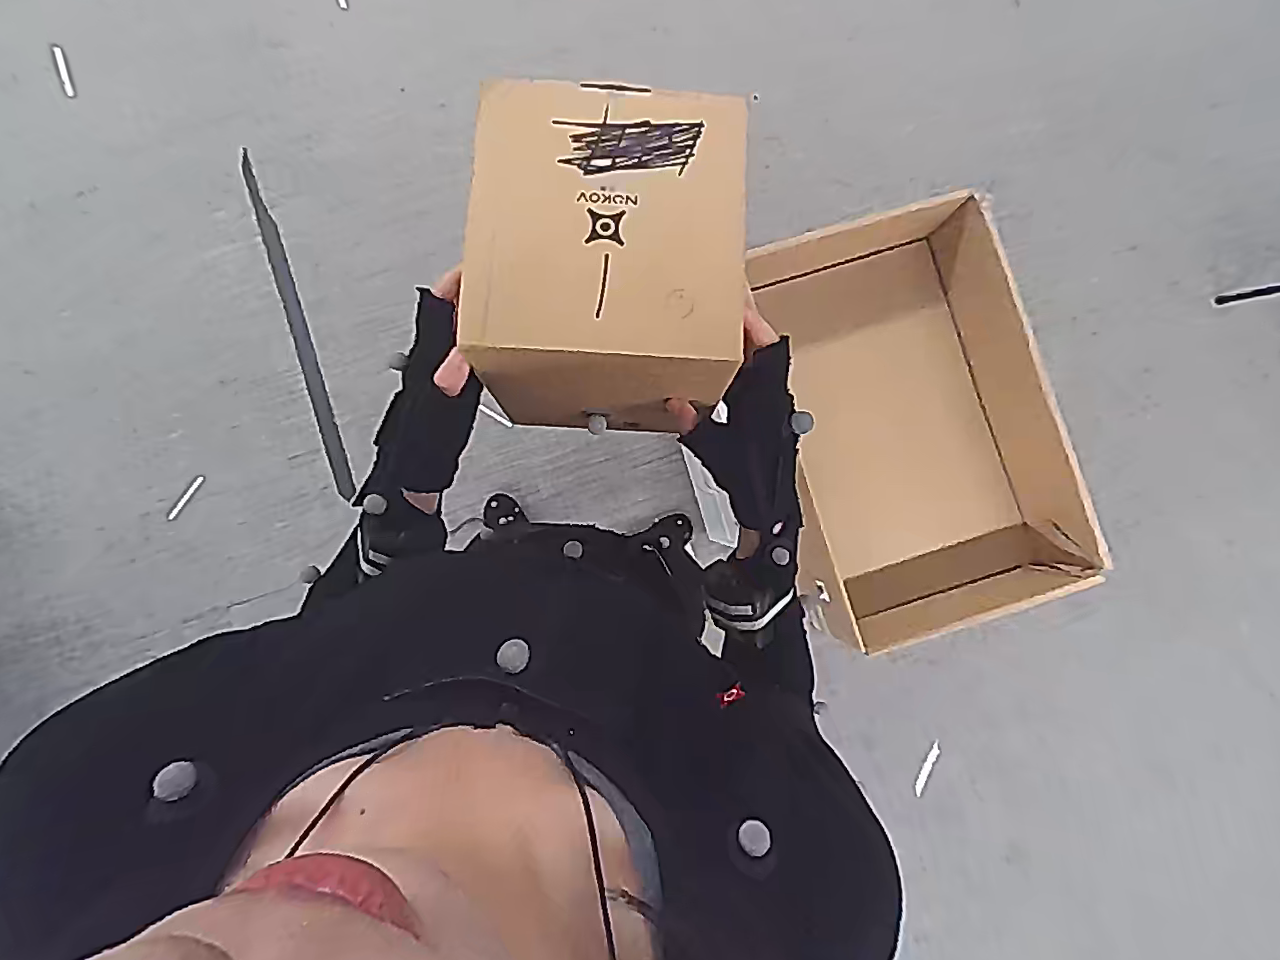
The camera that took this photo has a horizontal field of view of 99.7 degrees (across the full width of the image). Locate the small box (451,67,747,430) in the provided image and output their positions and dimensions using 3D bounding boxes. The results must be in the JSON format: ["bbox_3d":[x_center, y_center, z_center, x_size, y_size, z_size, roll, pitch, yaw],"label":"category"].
[{"bbox_3d":[-0.023,-0.147,0.395,0.168,0.176,0.179,3,80,-2],"label":"small box"}]
